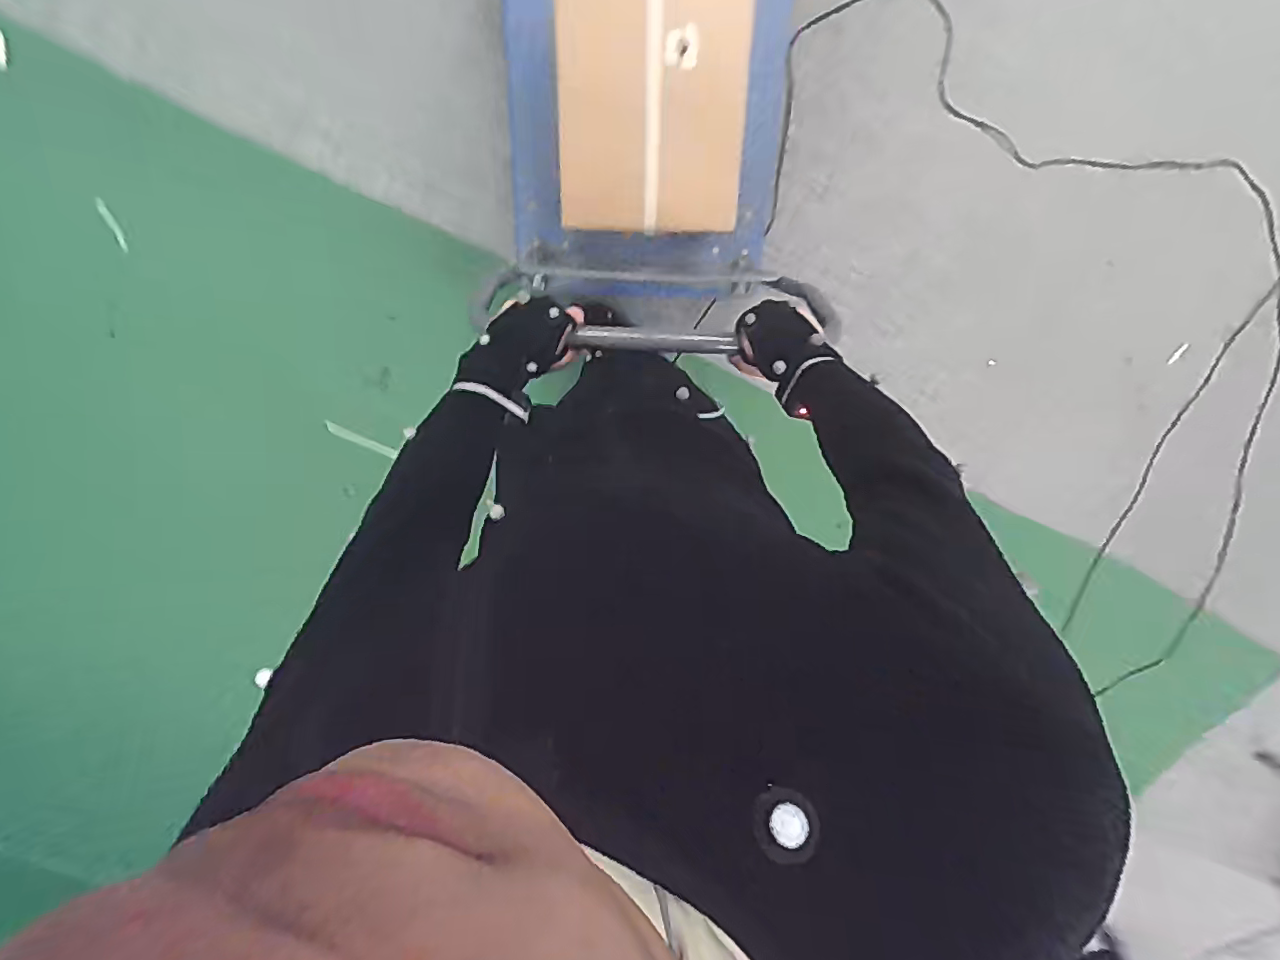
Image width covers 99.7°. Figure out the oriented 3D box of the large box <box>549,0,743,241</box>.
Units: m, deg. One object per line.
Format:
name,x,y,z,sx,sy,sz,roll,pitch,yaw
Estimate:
large box,0.008,-0.687,1.046,0.320,0.320,0.408,0,113,-2
